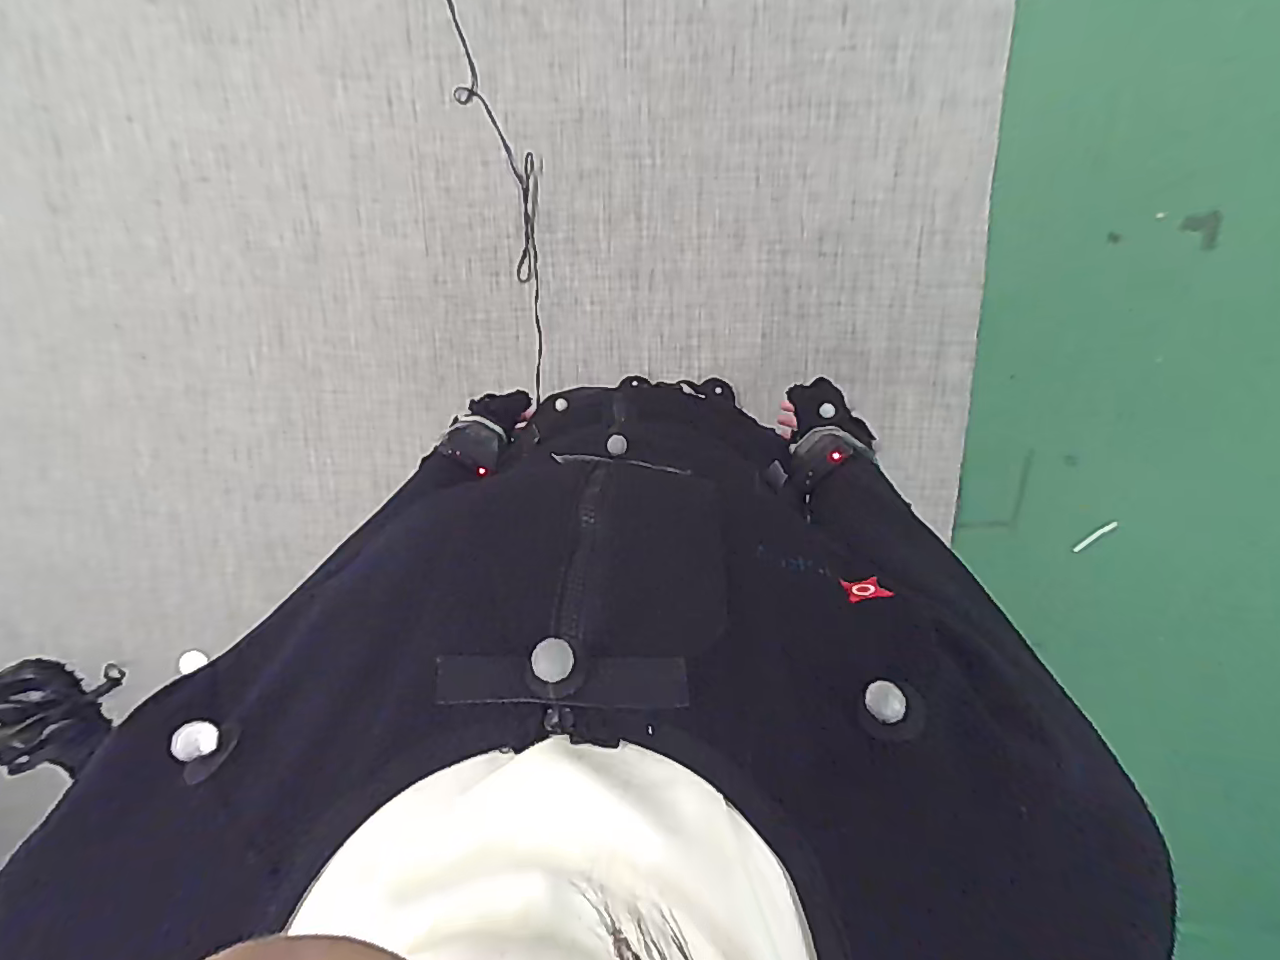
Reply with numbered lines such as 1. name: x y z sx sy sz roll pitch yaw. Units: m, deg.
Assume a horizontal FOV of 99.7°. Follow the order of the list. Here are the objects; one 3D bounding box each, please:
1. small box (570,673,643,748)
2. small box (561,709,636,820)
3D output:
1. small box: -0.091 0.658 1.503 0.179 0.176 0.168 3 102 5
2. small box: -0.098 0.703 1.346 0.168 0.176 0.179 2 101 3
